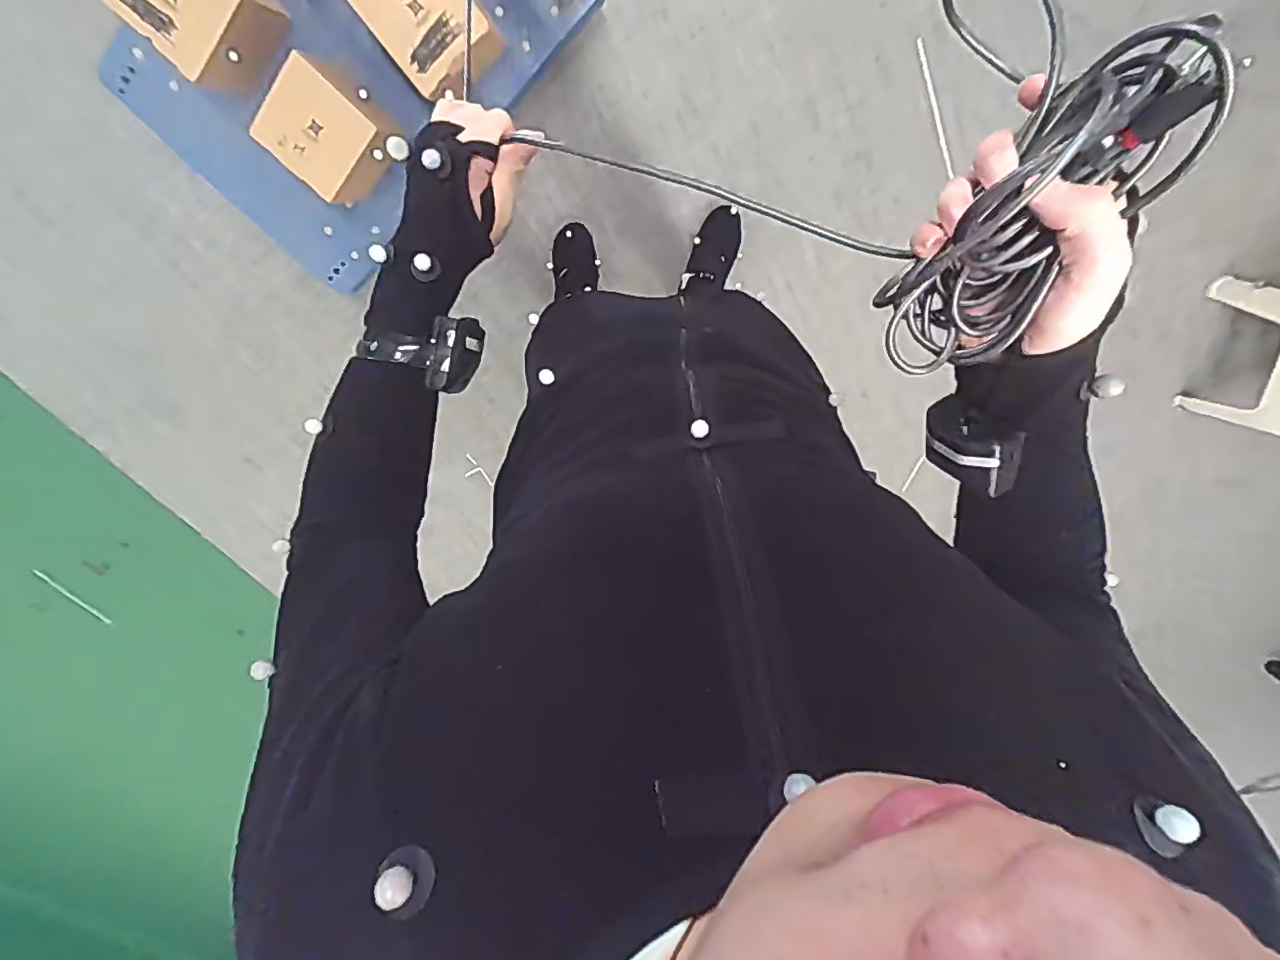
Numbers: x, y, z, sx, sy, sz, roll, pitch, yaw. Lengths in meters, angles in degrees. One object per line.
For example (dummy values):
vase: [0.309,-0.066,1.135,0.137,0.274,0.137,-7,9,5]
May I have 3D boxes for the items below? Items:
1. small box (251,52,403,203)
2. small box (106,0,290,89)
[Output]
small box: [-0.592,-0.674,1.051,0.179,0.176,0.168,-40,112,20]
small box: [-0.768,-0.835,0.955,0.179,0.176,0.168,-39,114,20]
